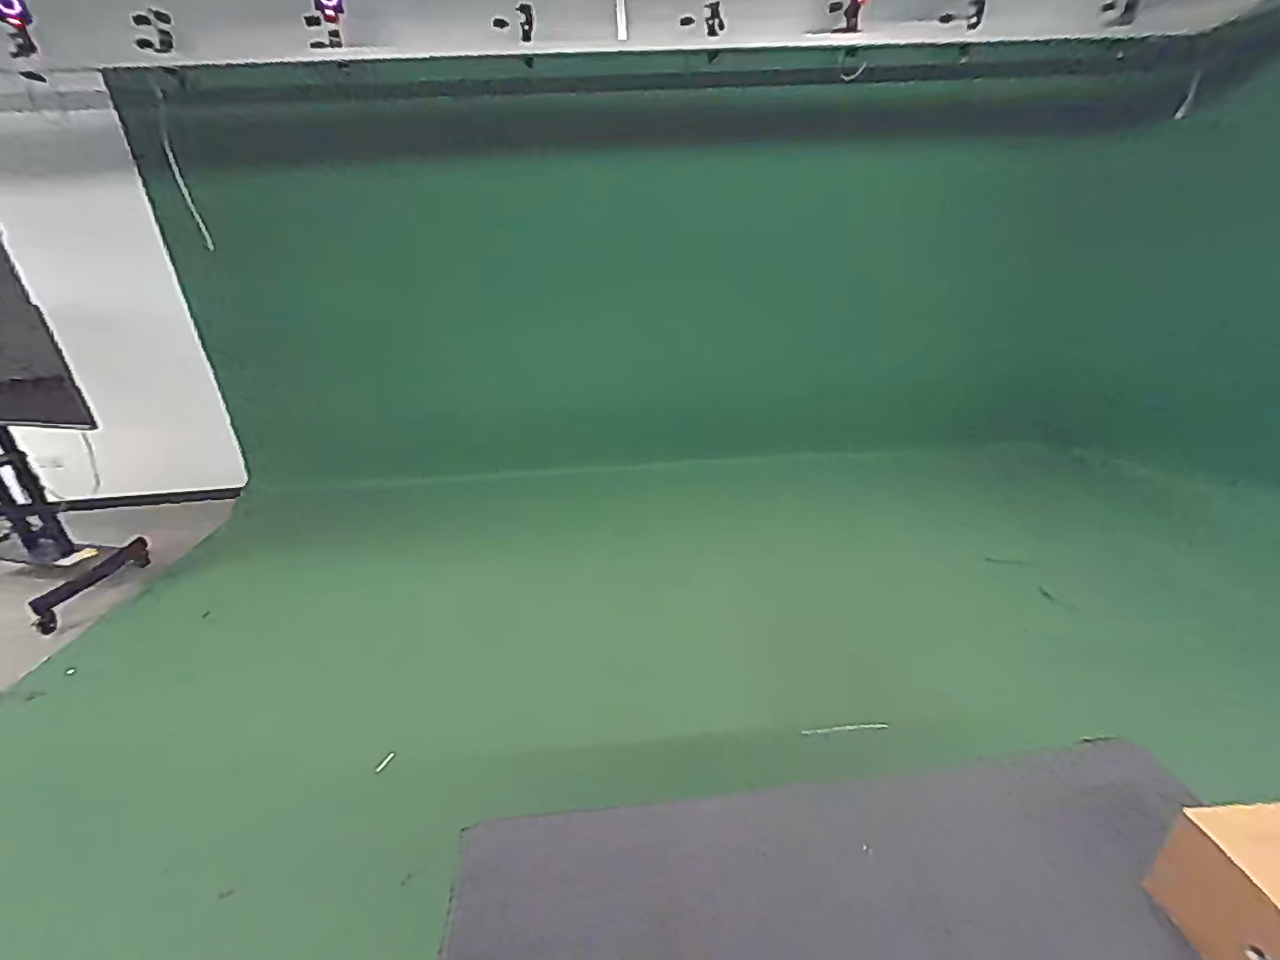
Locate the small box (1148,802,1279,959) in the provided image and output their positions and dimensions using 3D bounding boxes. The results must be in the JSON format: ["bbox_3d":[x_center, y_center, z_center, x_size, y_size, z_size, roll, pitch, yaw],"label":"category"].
[{"bbox_3d":[0.808,0.542,0.674,0.168,0.176,0.179,-3,23,-2],"label":"small box"}]
